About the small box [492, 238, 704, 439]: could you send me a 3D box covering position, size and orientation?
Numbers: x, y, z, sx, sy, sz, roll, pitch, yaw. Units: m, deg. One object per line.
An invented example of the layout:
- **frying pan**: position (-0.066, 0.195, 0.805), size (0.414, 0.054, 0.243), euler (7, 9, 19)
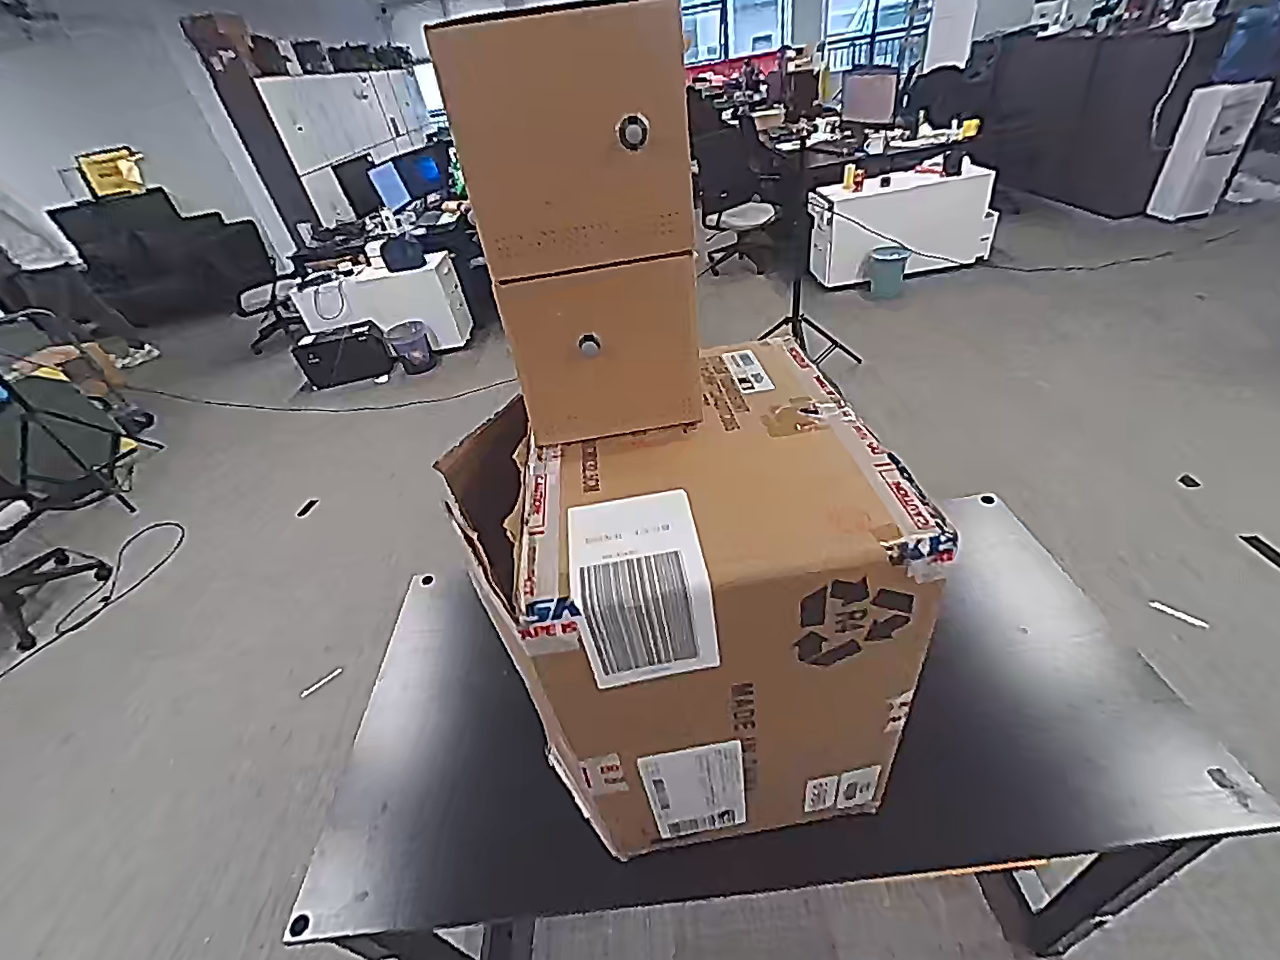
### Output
- **small box**: position (-0.037, -0.158, 0.566), size (0.179, 0.176, 0.168), euler (-10, 36, -1)

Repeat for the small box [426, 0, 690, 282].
- **small box**: position (-0.057, -0.287, 0.467), size (0.179, 0.176, 0.168), euler (-11, 35, -3)
